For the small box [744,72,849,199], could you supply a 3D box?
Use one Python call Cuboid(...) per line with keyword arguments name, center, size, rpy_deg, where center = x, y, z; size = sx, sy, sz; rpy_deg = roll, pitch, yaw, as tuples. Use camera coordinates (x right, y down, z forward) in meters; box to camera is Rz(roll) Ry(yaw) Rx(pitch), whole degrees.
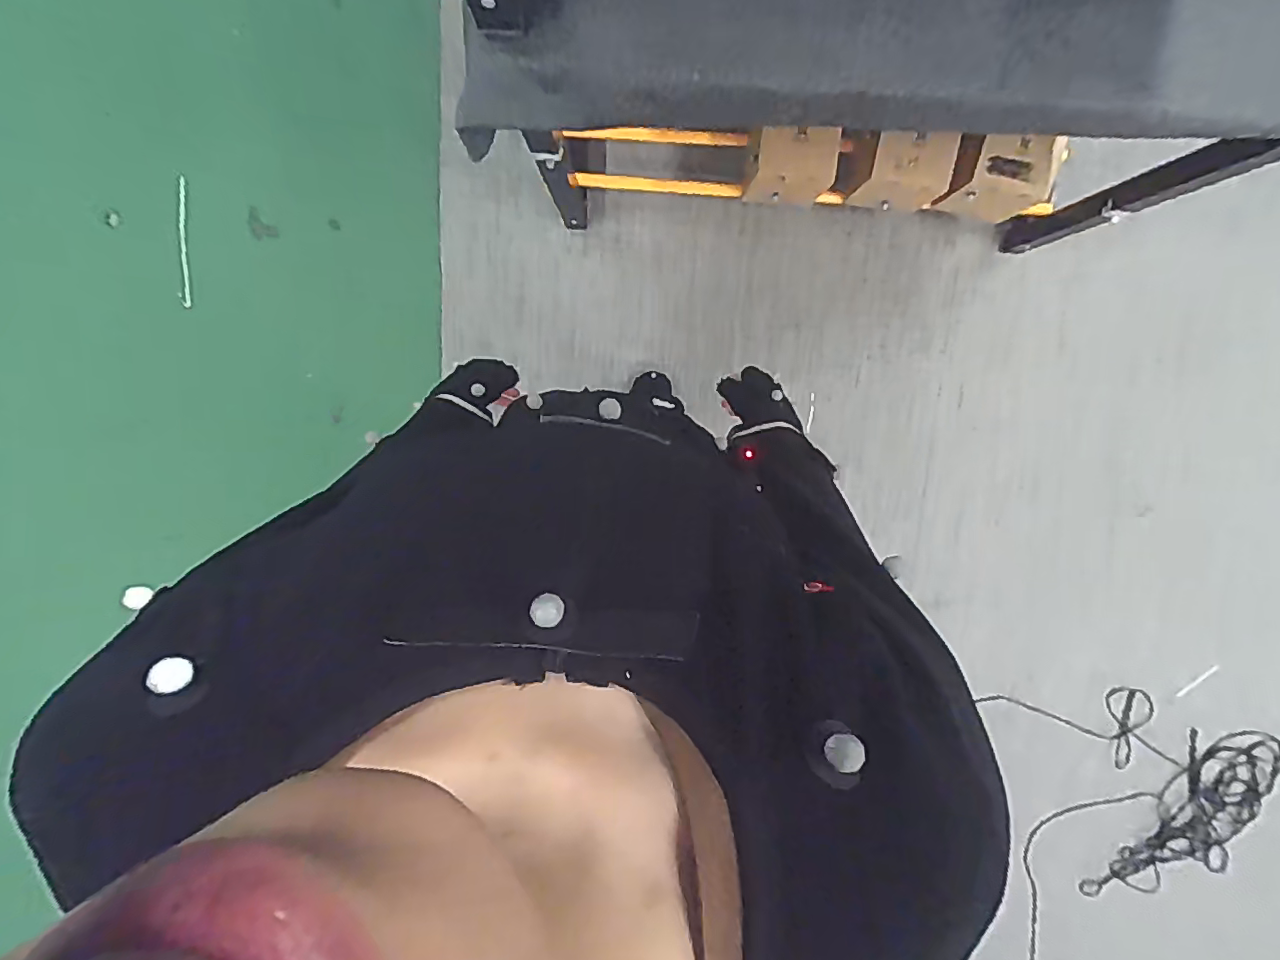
Cuboid(name="small box", center=(0.327, -0.731, 1.165), size=(0.168, 0.176, 0.179), rpy_deg=(5, 102, -1))
